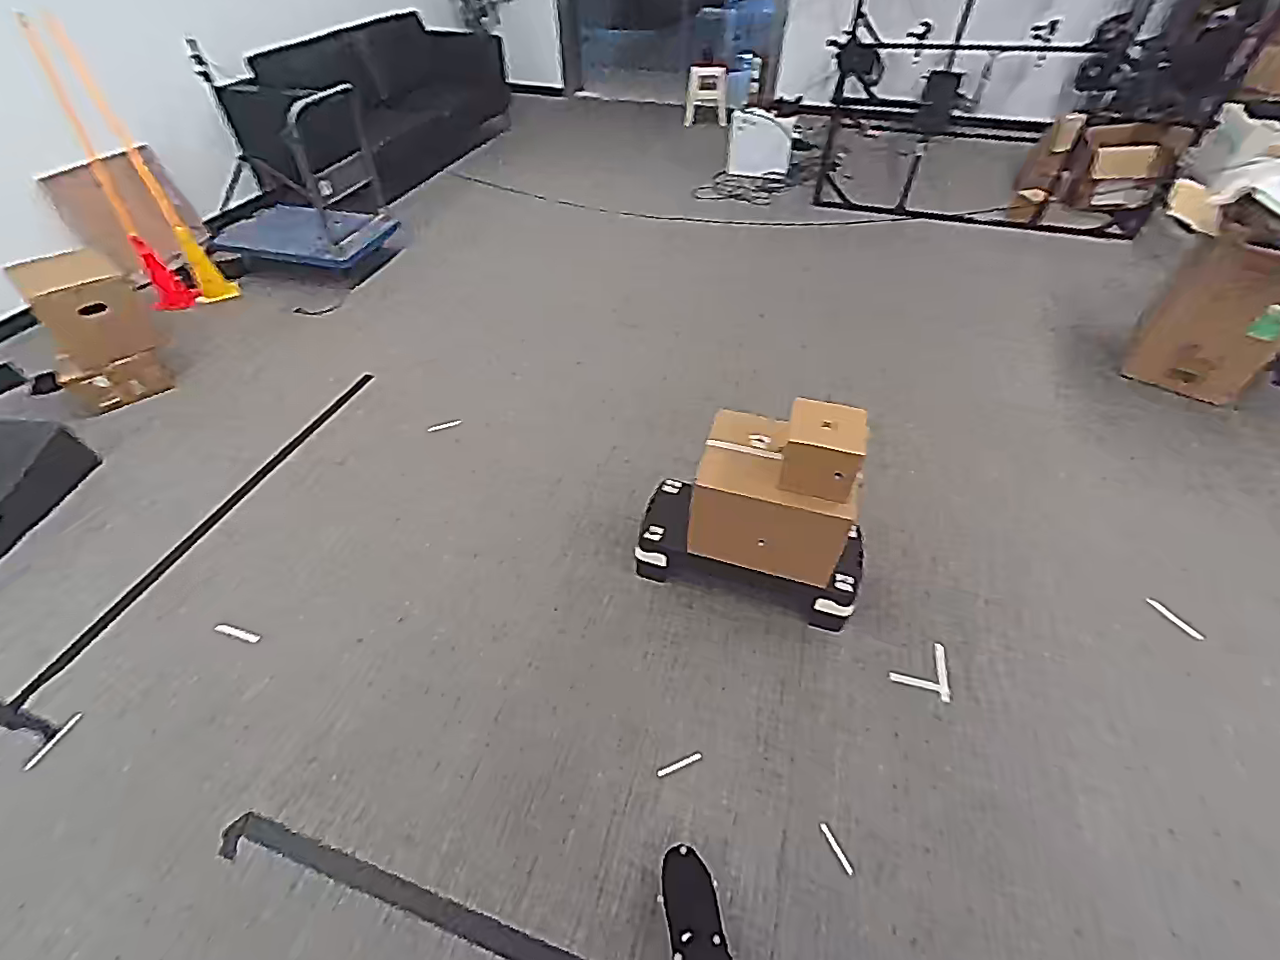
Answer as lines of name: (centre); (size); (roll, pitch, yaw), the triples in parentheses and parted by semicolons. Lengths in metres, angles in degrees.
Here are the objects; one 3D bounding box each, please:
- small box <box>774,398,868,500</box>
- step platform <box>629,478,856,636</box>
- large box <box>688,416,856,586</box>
small box: (0.439, -0.072, 1.318); (0.179, 0.176, 0.168); (12, 49, 13)
step platform: (0.314, 0.222, 1.706); (0.684, 0.204, 0.286); (17, 49, 17)
large box: (0.368, 0.059, 1.533); (0.408, 0.320, 0.320); (12, 47, 13)
